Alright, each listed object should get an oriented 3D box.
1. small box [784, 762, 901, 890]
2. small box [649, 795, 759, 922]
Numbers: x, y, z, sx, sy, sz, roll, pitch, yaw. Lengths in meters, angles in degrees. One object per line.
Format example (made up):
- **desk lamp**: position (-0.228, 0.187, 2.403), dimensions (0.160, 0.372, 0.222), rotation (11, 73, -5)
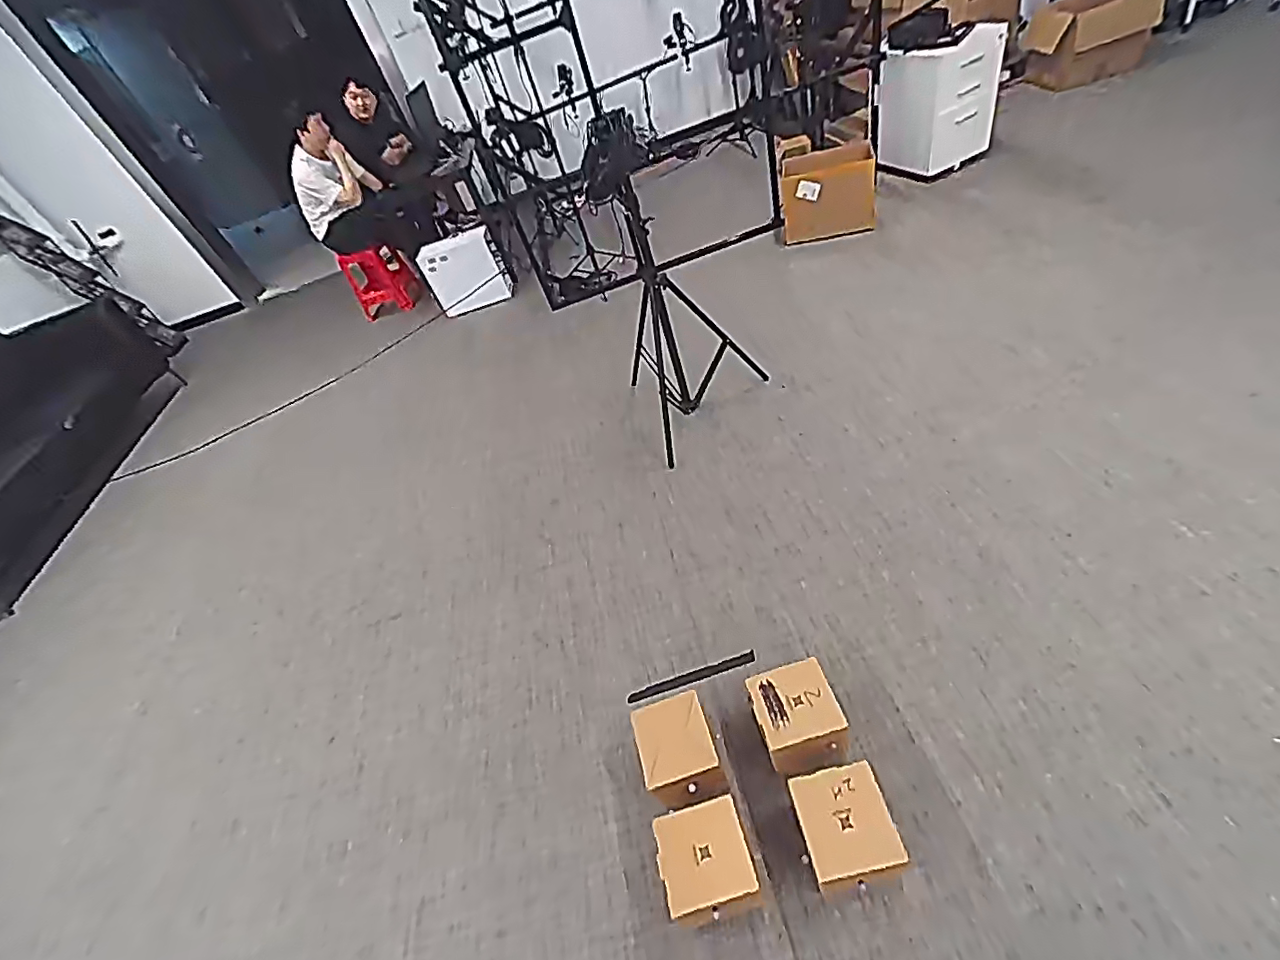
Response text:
- **small box**: position (0.401, 0.699, 1.086), dimensions (0.168, 0.176, 0.179), rotation (-16, 44, 4)
- **small box**: position (0.137, 0.780, 1.112), dimensions (0.179, 0.176, 0.168), rotation (-20, 44, 3)
